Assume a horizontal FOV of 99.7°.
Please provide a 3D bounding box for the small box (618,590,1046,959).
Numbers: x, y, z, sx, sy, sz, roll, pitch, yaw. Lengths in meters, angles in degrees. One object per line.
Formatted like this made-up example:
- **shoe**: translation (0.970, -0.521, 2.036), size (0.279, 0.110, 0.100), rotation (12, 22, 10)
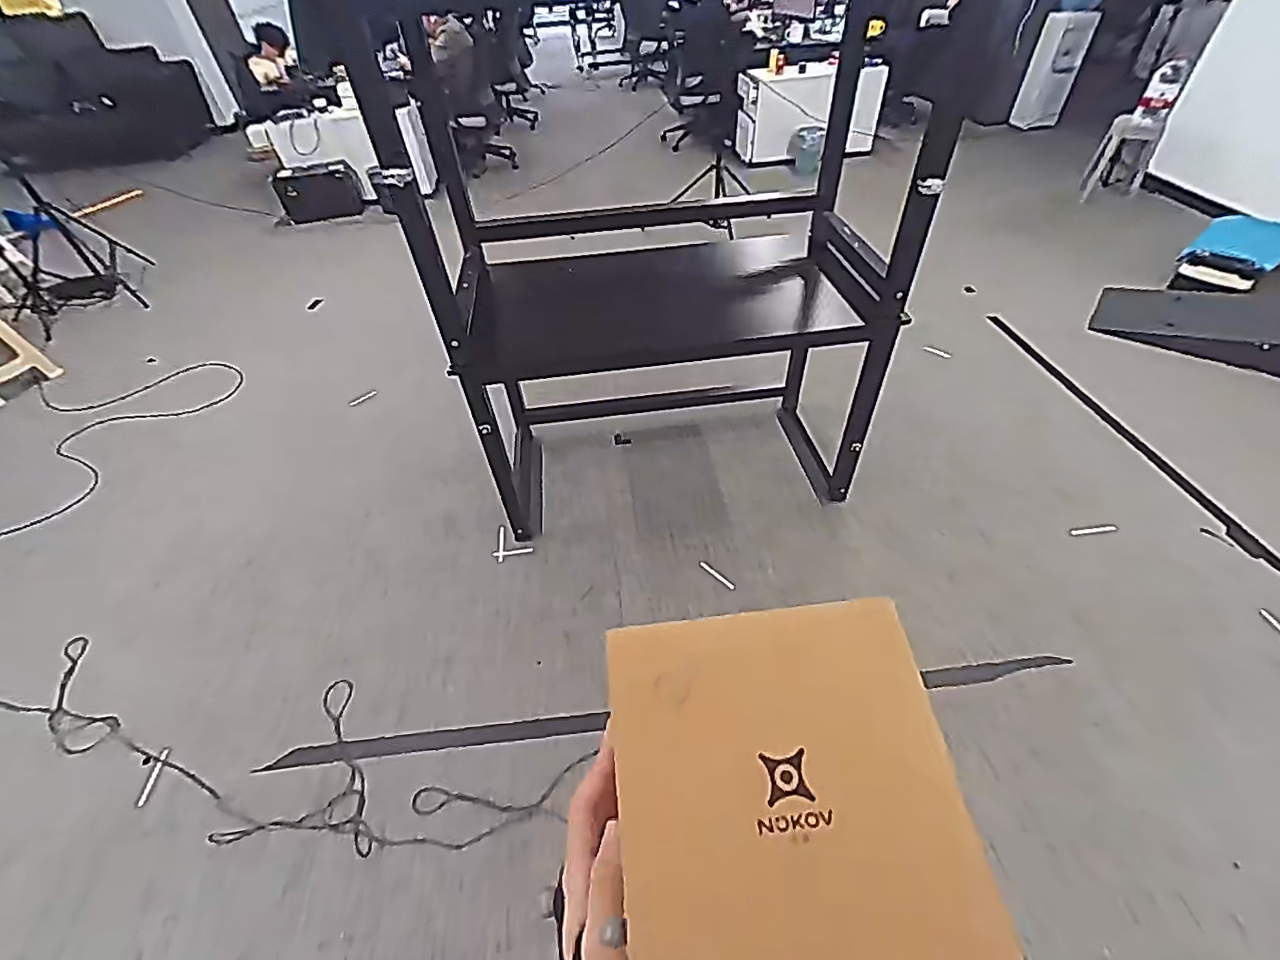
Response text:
- **small box**: translation (0.077, 0.185, 0.323), size (0.168, 0.176, 0.179), rotation (-7, 58, -2)
